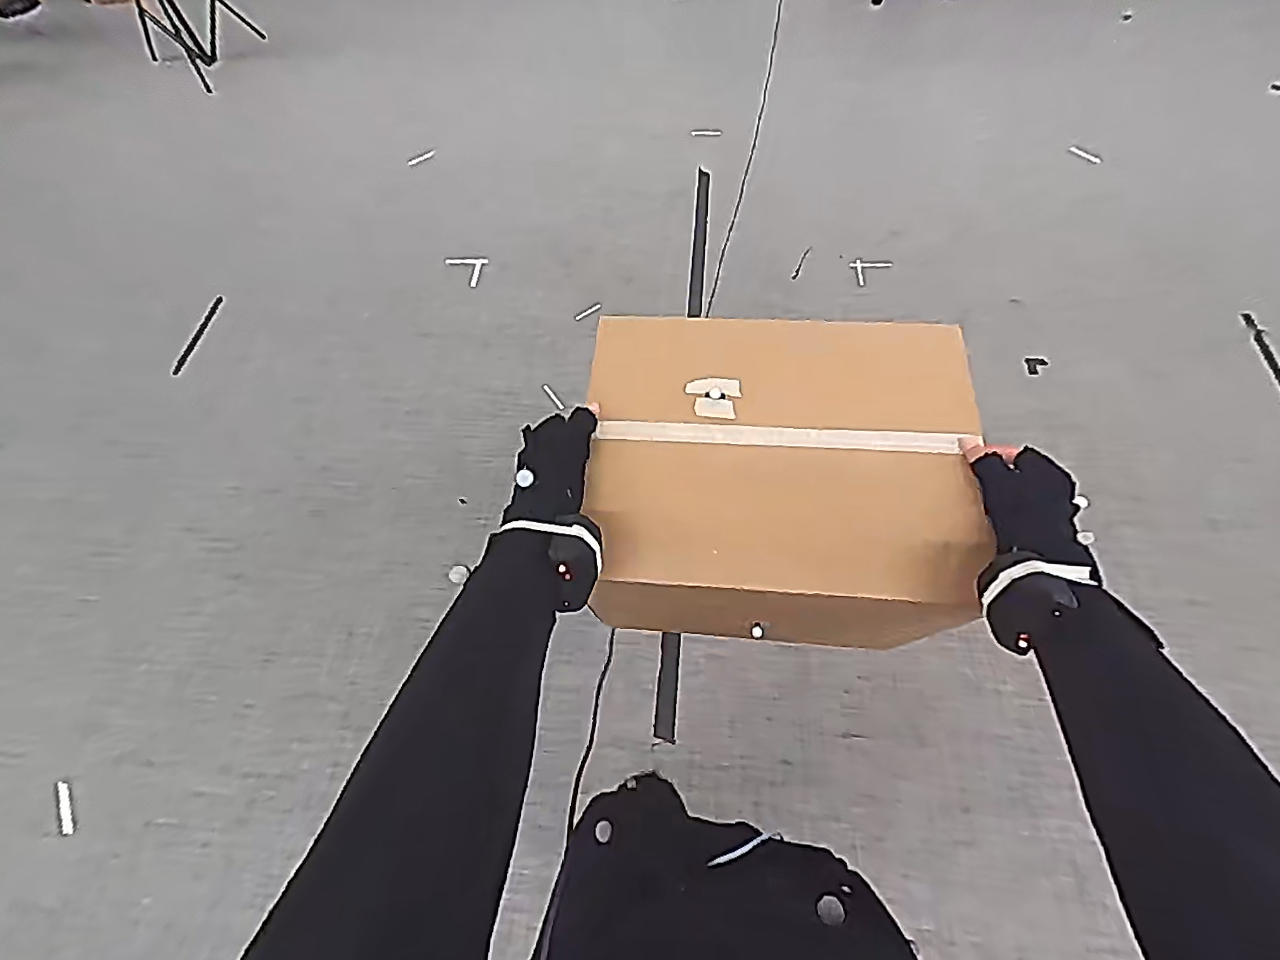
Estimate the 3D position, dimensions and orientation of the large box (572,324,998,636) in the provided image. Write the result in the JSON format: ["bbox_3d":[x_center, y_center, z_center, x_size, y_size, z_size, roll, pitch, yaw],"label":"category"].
[{"bbox_3d":[0.155,0.019,0.703,0.408,0.320,0.320,3,66,7],"label":"large box"}]
